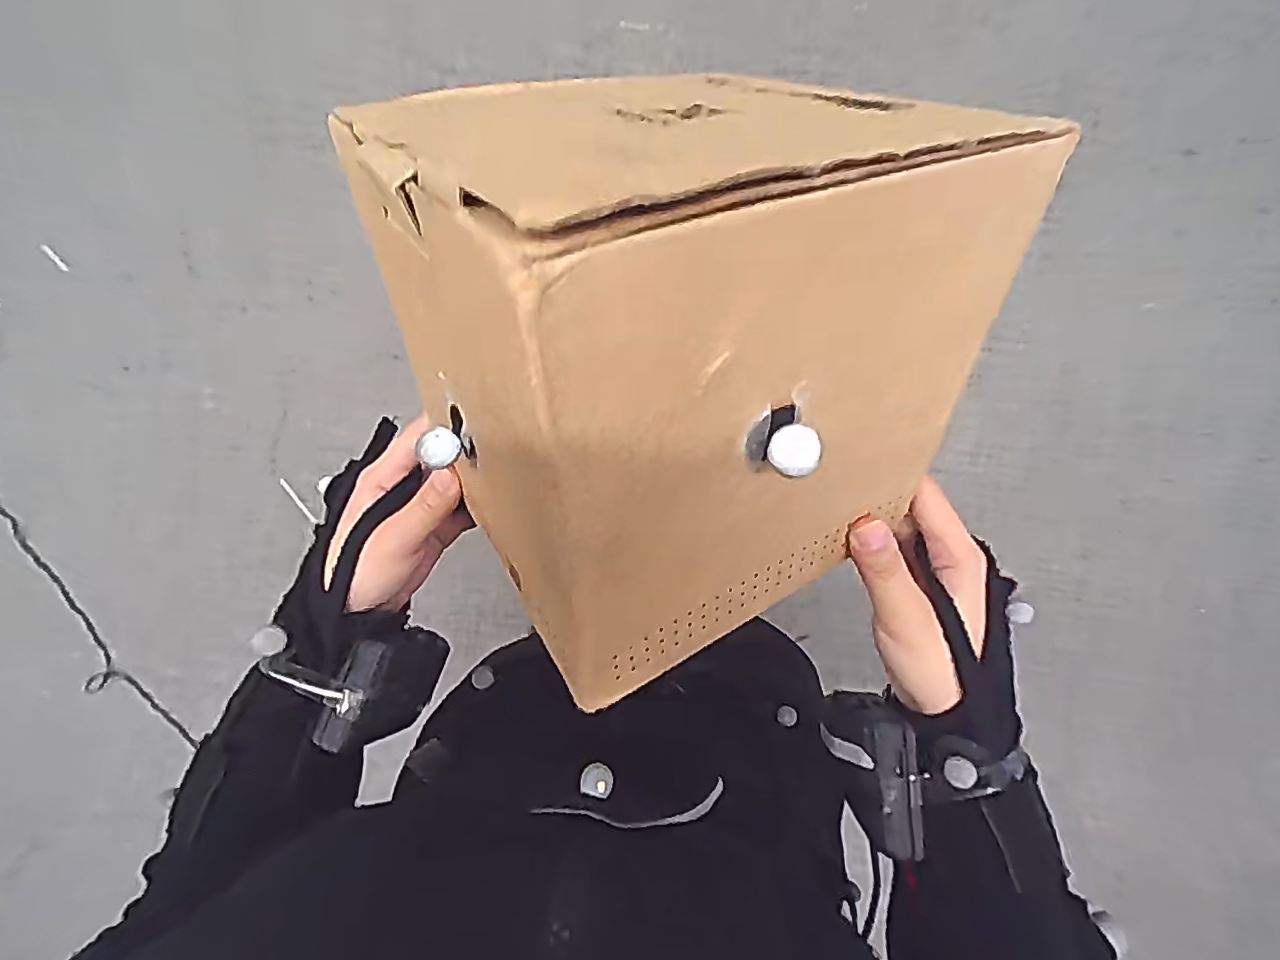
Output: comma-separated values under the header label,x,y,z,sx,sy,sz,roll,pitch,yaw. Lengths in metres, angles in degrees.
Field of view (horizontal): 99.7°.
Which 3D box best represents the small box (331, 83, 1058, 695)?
label,x,y,z,sx,sy,sz,roll,pitch,yaw
small box,0.009,-0.048,0.225,0.179,0.176,0.168,-24,47,-23
